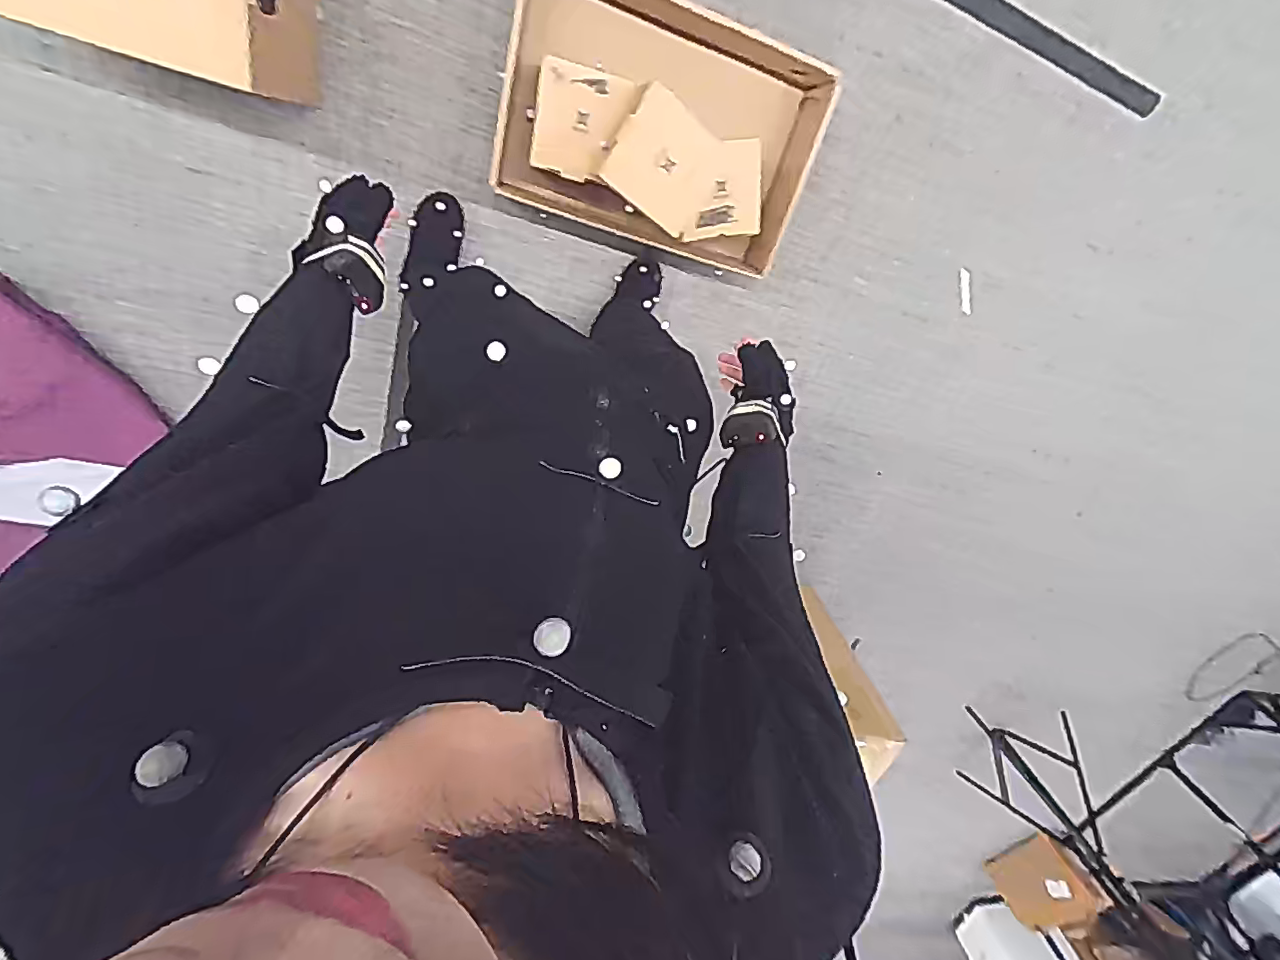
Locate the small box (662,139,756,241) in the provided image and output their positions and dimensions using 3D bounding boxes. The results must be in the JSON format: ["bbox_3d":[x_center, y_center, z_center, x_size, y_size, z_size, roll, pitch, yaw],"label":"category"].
[{"bbox_3d":[0.142,-0.624,1.160,0.168,0.176,0.179,-8,120,-4],"label":"small box"}]

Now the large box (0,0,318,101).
[{"bbox_3d":[-0.771,-0.842,0.838,0.408,0.320,0.320,9,119,-16],"label":"large box"}]
